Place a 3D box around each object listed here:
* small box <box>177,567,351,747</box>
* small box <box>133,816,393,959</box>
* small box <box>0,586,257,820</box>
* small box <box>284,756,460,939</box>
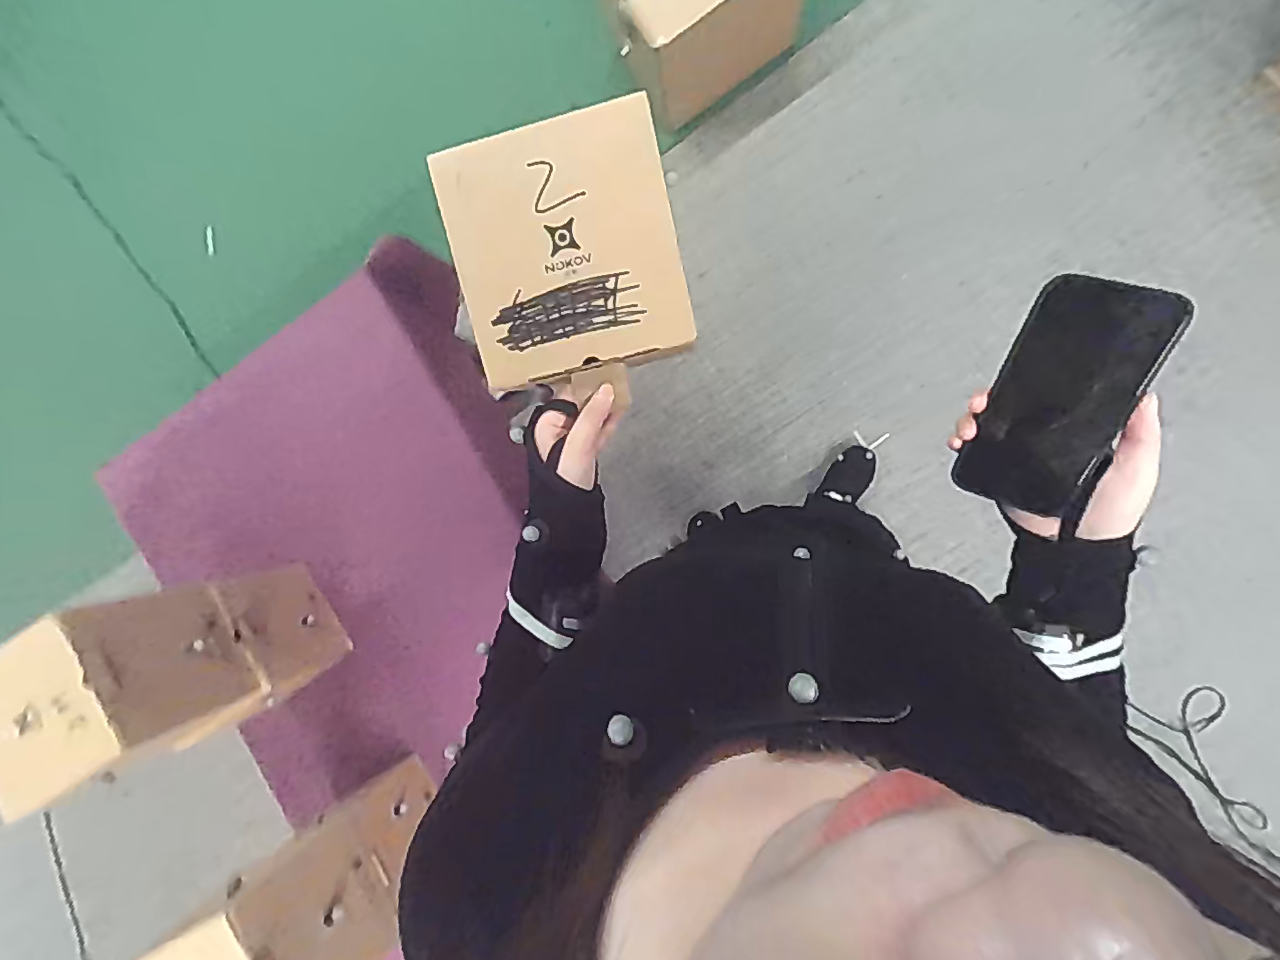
[{"bbox_3d":[-0.584,0.250,0.808,0.179,0.176,0.168,-35,85,7],"label":"small box"},{"bbox_3d":[-0.416,0.532,0.615,0.179,0.176,0.168,-33,84,7],"label":"small box"},{"bbox_3d":[-0.620,0.249,0.647,0.179,0.176,0.168,-33,86,7],"label":"small box"},{"bbox_3d":[-0.388,0.539,0.778,0.179,0.176,0.168,-33,84,8],"label":"small box"}]
